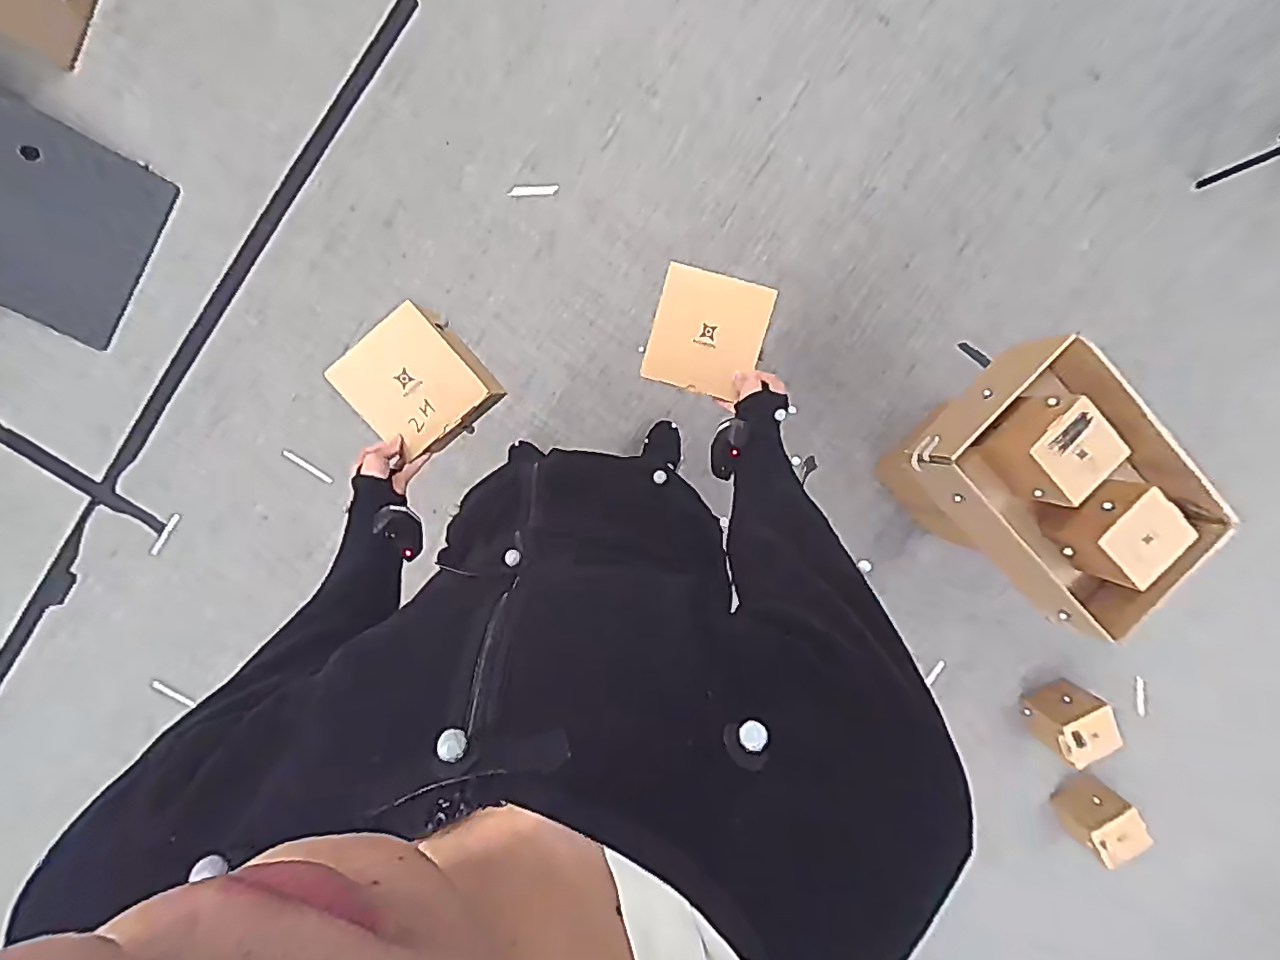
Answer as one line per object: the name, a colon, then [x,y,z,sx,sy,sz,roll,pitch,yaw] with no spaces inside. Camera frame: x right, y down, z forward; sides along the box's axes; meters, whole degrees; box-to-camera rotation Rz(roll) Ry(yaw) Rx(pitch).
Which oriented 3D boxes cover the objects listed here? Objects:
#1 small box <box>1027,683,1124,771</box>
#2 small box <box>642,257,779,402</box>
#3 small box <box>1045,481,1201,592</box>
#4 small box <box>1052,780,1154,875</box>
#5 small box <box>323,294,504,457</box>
small box: [1.416,0.804,1.774,0.179,0.176,0.168,-24,99,-2]
small box: [0.107,-0.236,0.874,0.168,0.176,0.179,16,103,2]
small box: [1.088,0.118,1.233,0.168,0.176,0.179,44,89,-7]
small box: [1.561,1.168,1.832,0.179,0.176,0.168,-31,98,-1]
small box: [-0.341,-0.158,0.853,0.168,0.176,0.179,-39,100,2]
